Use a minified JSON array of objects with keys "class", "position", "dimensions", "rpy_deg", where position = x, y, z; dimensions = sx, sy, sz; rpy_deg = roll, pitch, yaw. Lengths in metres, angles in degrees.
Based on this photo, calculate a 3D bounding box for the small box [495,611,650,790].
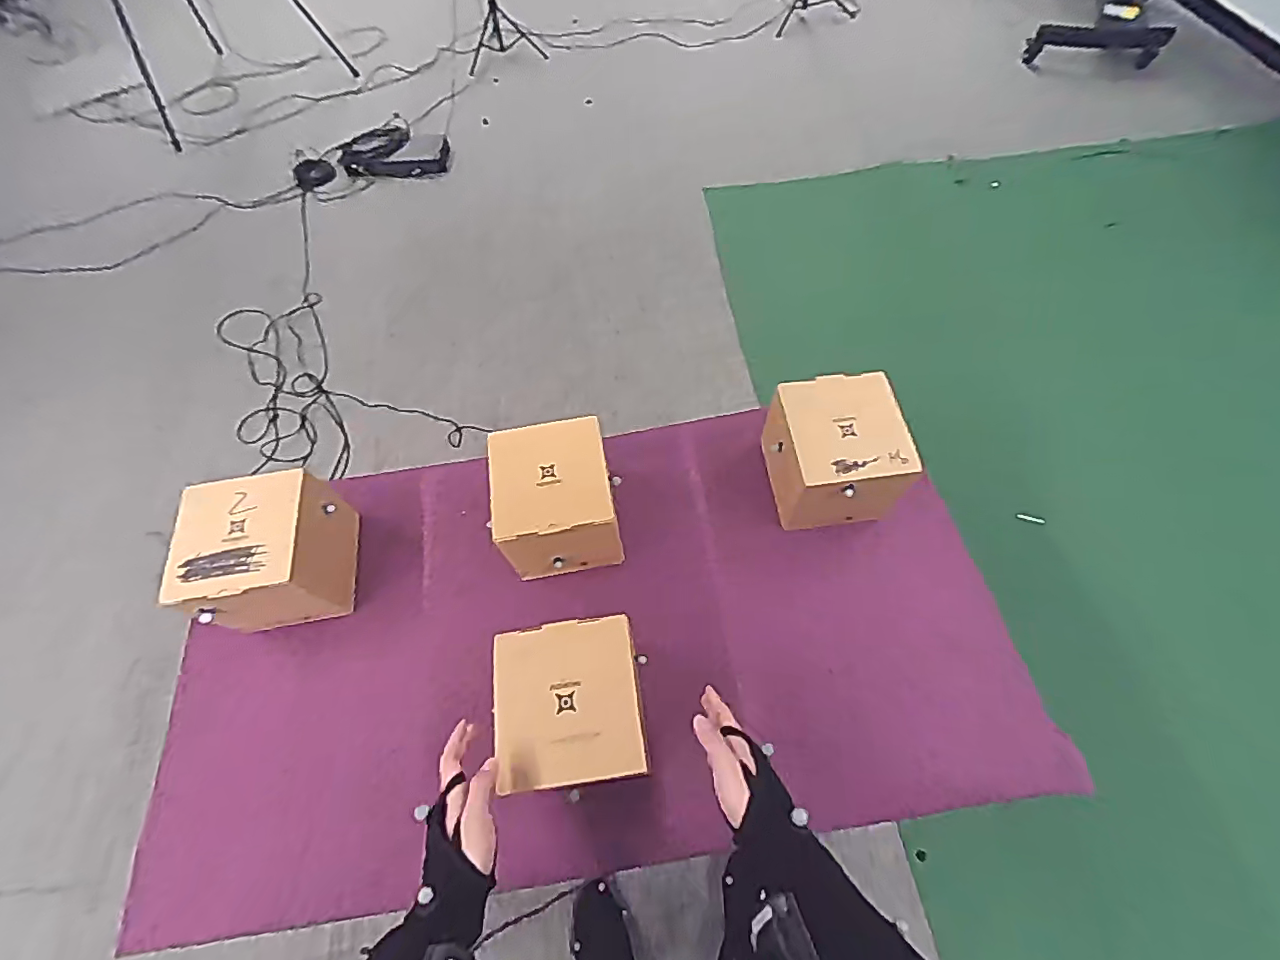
[{"class":"small box","position":[-0.080,0.282,0.681],"dimensions":[0.168,0.176,0.179],"rpy_deg":[-8,61,-1]}]

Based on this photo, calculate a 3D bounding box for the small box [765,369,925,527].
[{"class":"small box","position":[0.301,-0.045,0.840],"dimensions":[0.168,0.176,0.179],"rpy_deg":[-7,63,0]}]

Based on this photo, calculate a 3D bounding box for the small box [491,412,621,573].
[{"class":"small box","position":[-0.123,0.023,0.822],"dimensions":[0.168,0.176,0.179],"rpy_deg":[-10,63,-4]}]
